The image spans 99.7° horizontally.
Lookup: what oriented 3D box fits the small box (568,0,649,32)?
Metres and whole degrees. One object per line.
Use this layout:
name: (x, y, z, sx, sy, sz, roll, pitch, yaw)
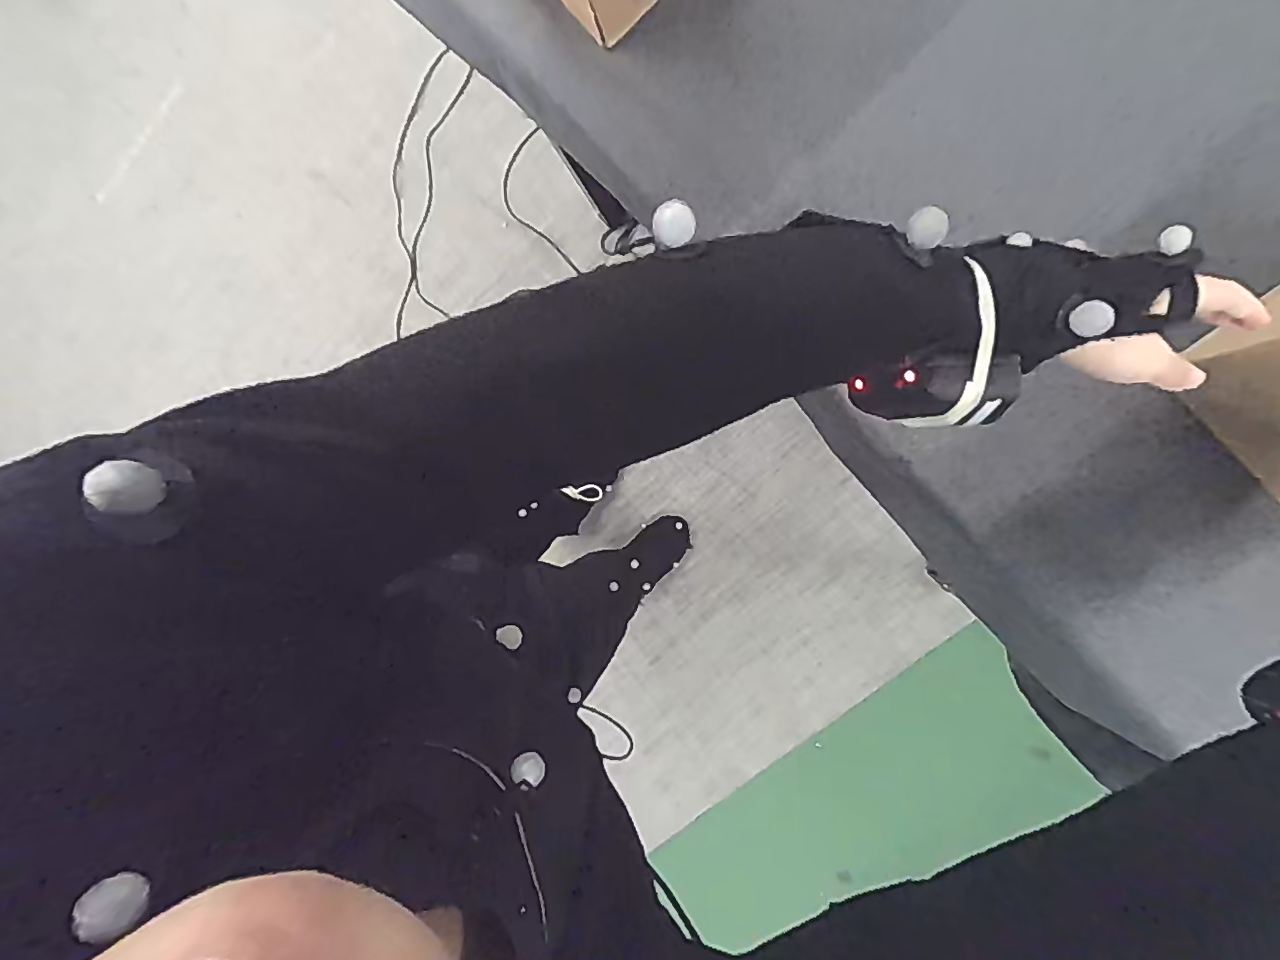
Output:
small box: (-0.043, -0.564, 0.474, 0.168, 0.176, 0.179, -39, 83, 10)
